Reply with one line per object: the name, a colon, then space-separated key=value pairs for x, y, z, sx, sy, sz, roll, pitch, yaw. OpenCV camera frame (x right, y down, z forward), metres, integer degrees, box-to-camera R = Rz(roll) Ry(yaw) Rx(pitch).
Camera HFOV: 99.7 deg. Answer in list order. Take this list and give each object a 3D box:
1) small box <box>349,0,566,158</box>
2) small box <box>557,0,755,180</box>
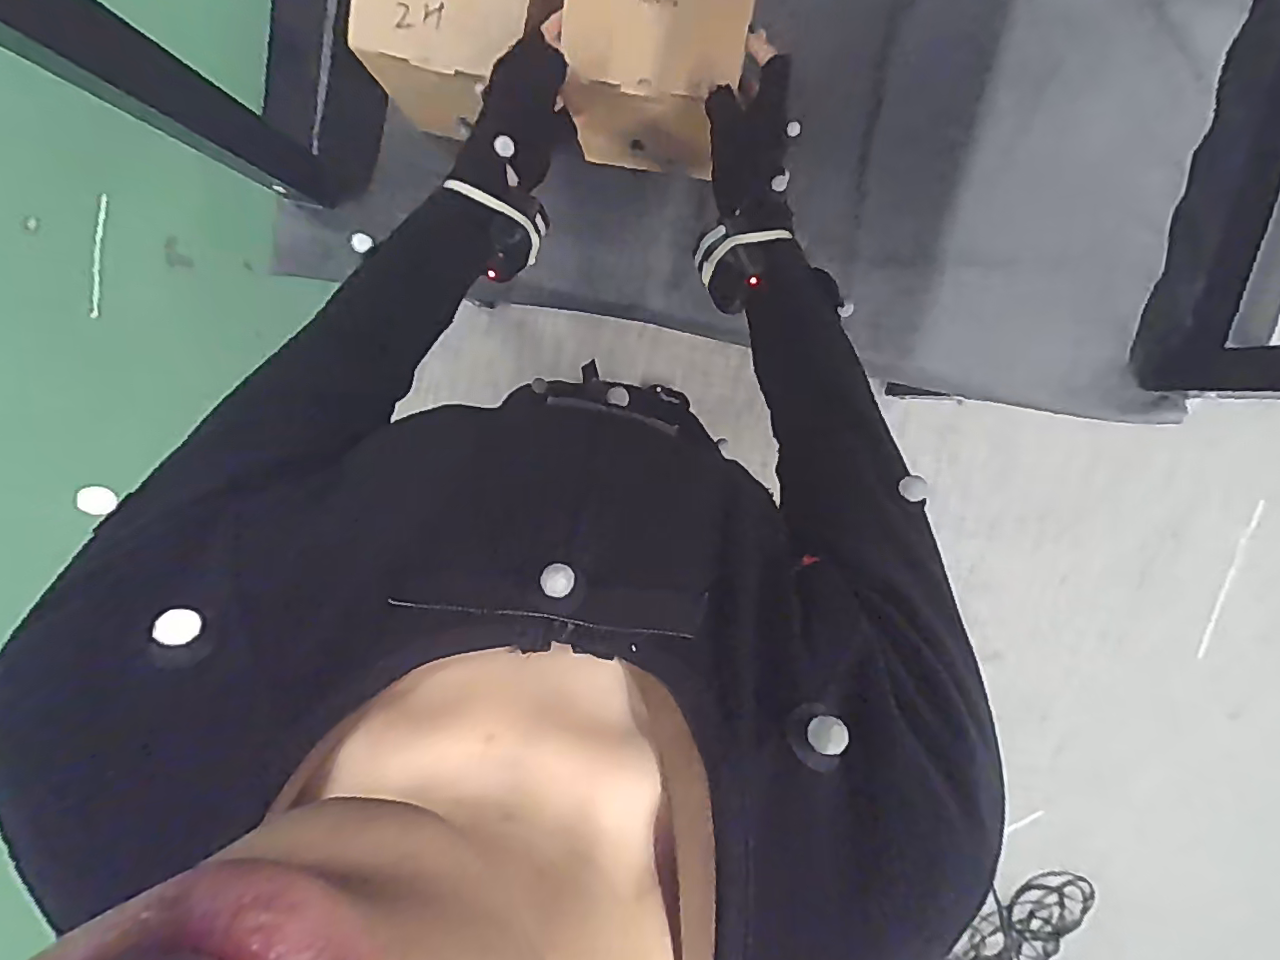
small box: x=-0.180 y=-0.491 z=0.585 sx=0.168 sy=0.176 sz=0.179 roll=13 pitch=98 yaw=-2
small box: x=0.022 y=-0.442 z=0.553 sx=0.168 sy=0.176 sz=0.179 roll=10 pitch=99 yaw=2
